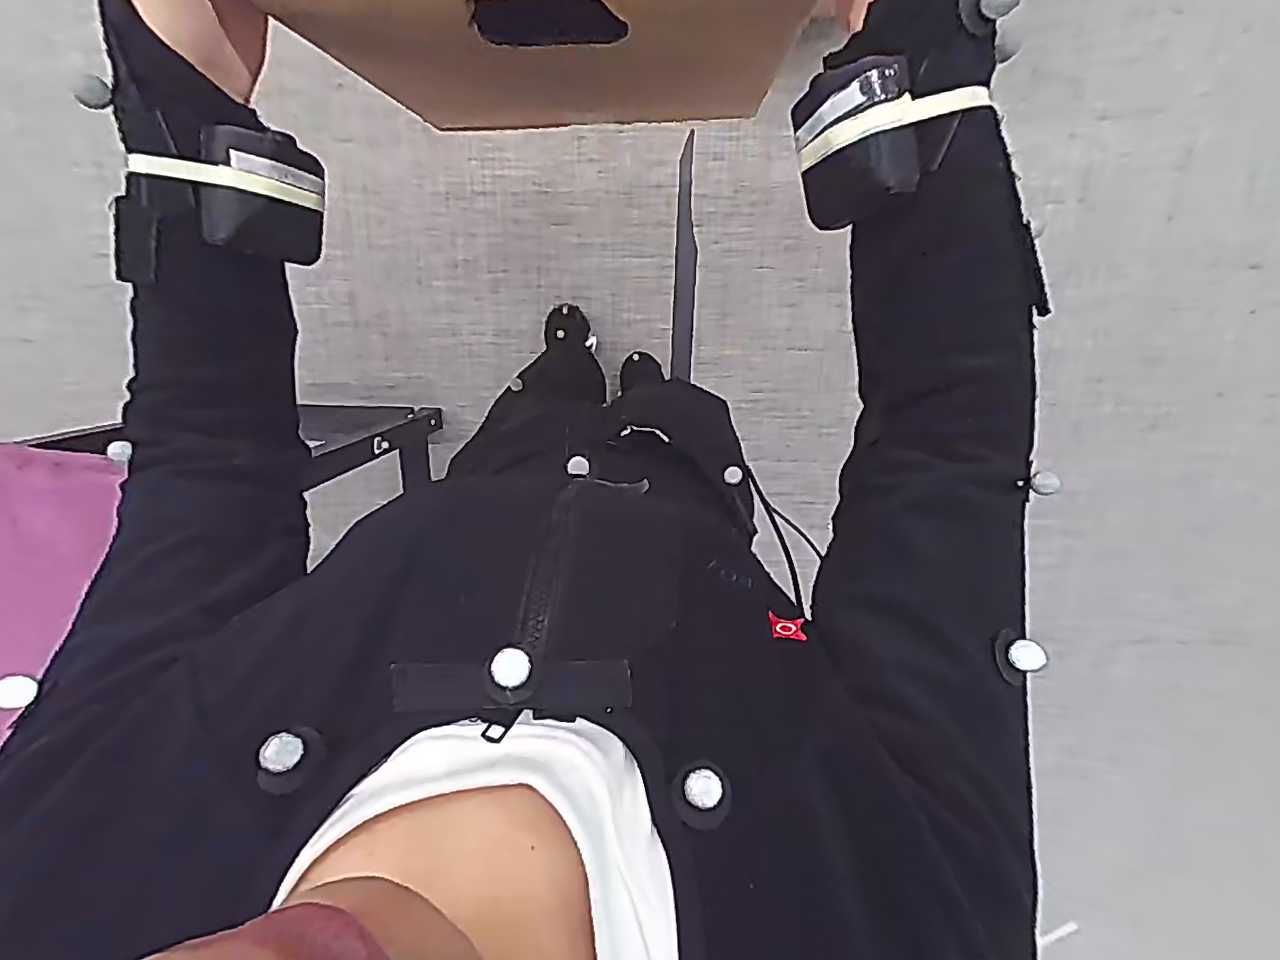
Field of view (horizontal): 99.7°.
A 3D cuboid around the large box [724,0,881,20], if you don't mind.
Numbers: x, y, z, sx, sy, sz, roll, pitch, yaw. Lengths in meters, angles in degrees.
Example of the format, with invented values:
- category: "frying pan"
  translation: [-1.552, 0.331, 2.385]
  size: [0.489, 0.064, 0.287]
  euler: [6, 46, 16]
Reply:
- category: "large box"
  translation: [0.318, -1.099, 0.915]
  size: [0.320, 0.320, 0.408]
  euler: [1, 107, 3]
